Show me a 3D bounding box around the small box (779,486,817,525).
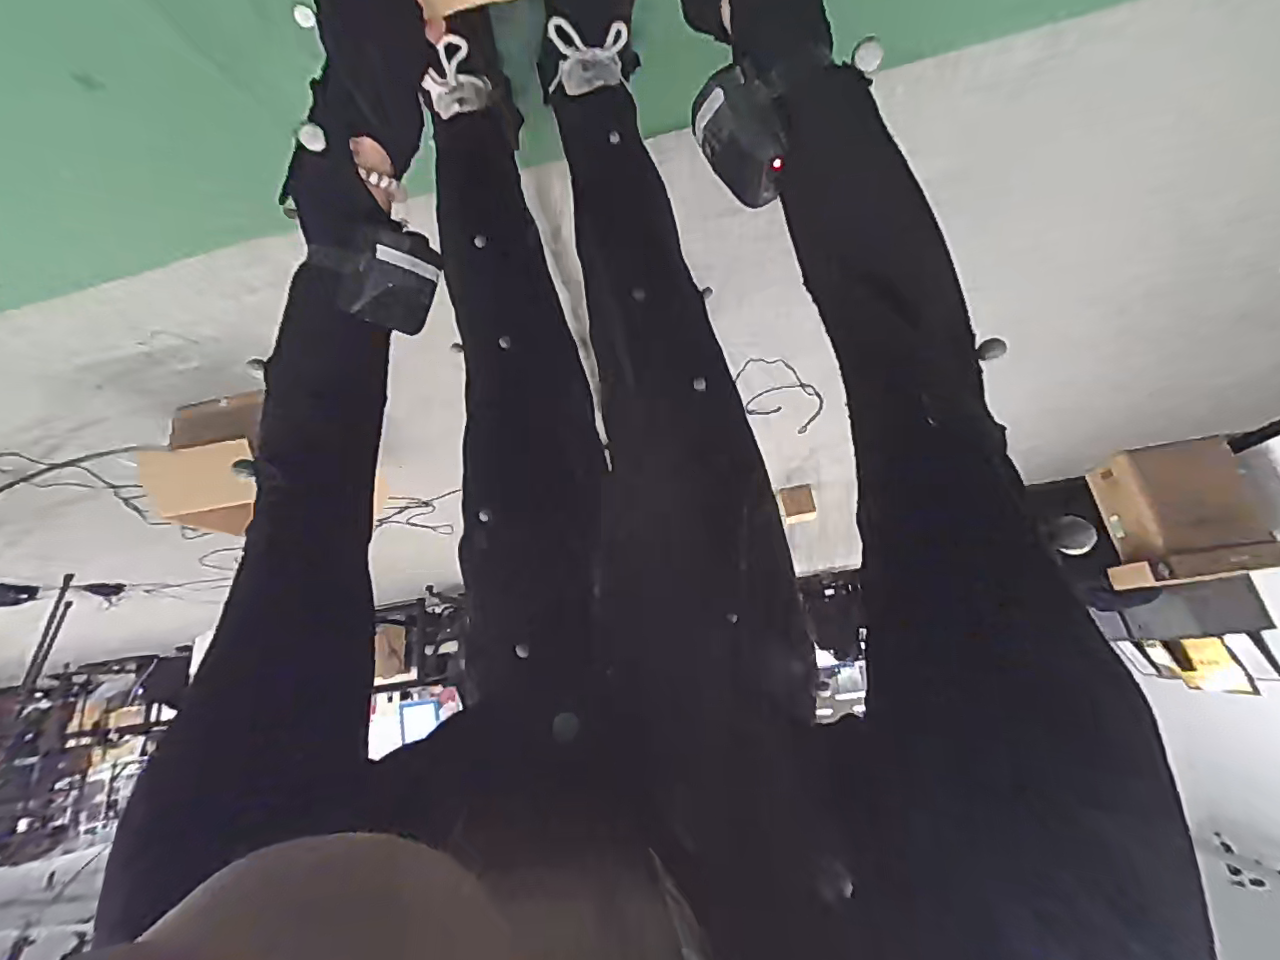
[{"bbox_3d":[0.879,0.143,3.019,0.168,0.176,0.179,-12,161,9],"label":"small box"}]
